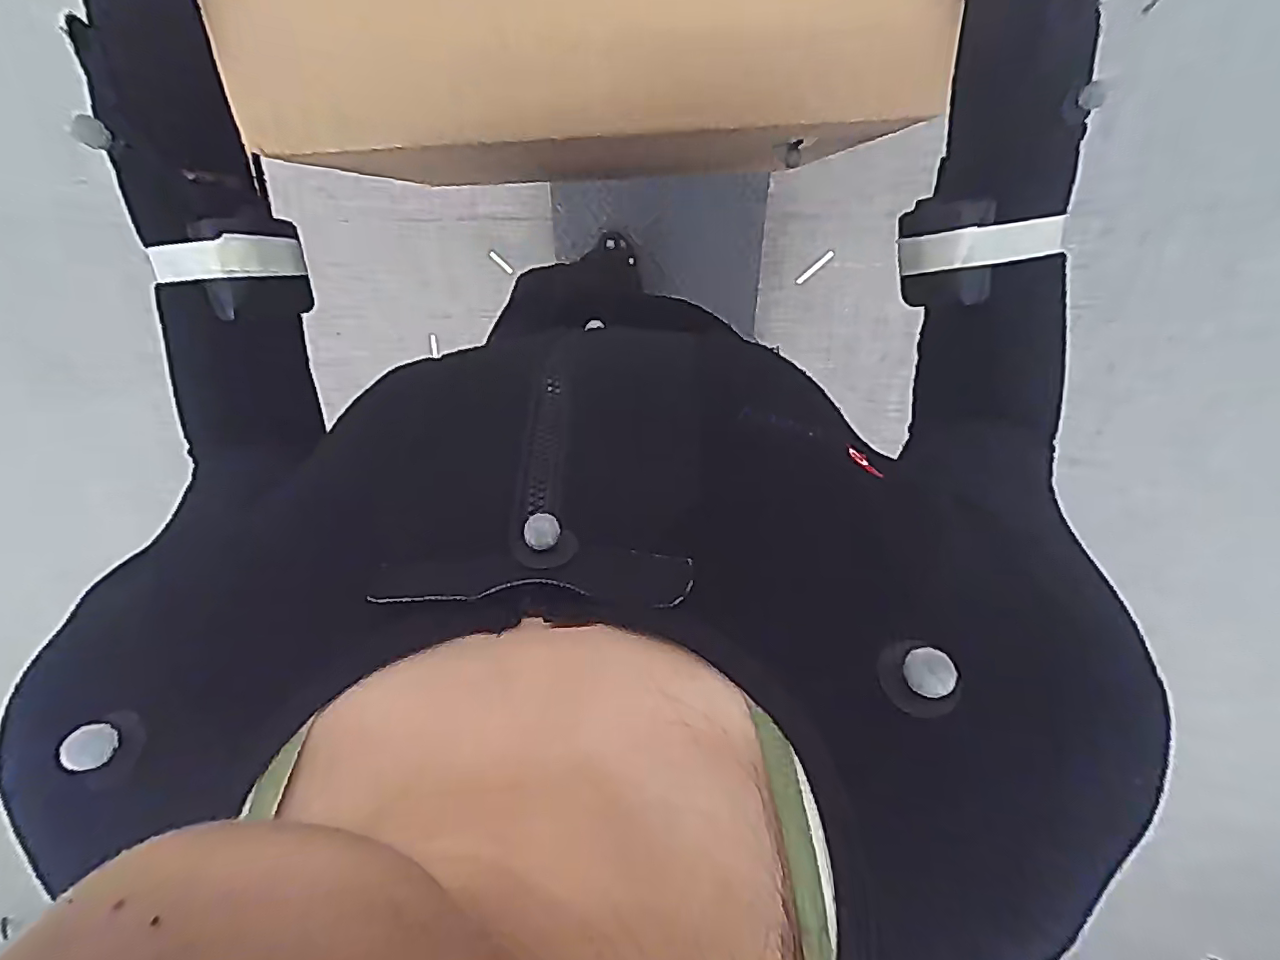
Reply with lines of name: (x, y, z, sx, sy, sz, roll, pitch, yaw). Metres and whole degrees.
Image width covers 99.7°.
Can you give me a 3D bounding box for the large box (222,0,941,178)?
large box: (-0.035, -0.412, 0.392, 0.408, 0.320, 0.320, -3, 115, 1)
